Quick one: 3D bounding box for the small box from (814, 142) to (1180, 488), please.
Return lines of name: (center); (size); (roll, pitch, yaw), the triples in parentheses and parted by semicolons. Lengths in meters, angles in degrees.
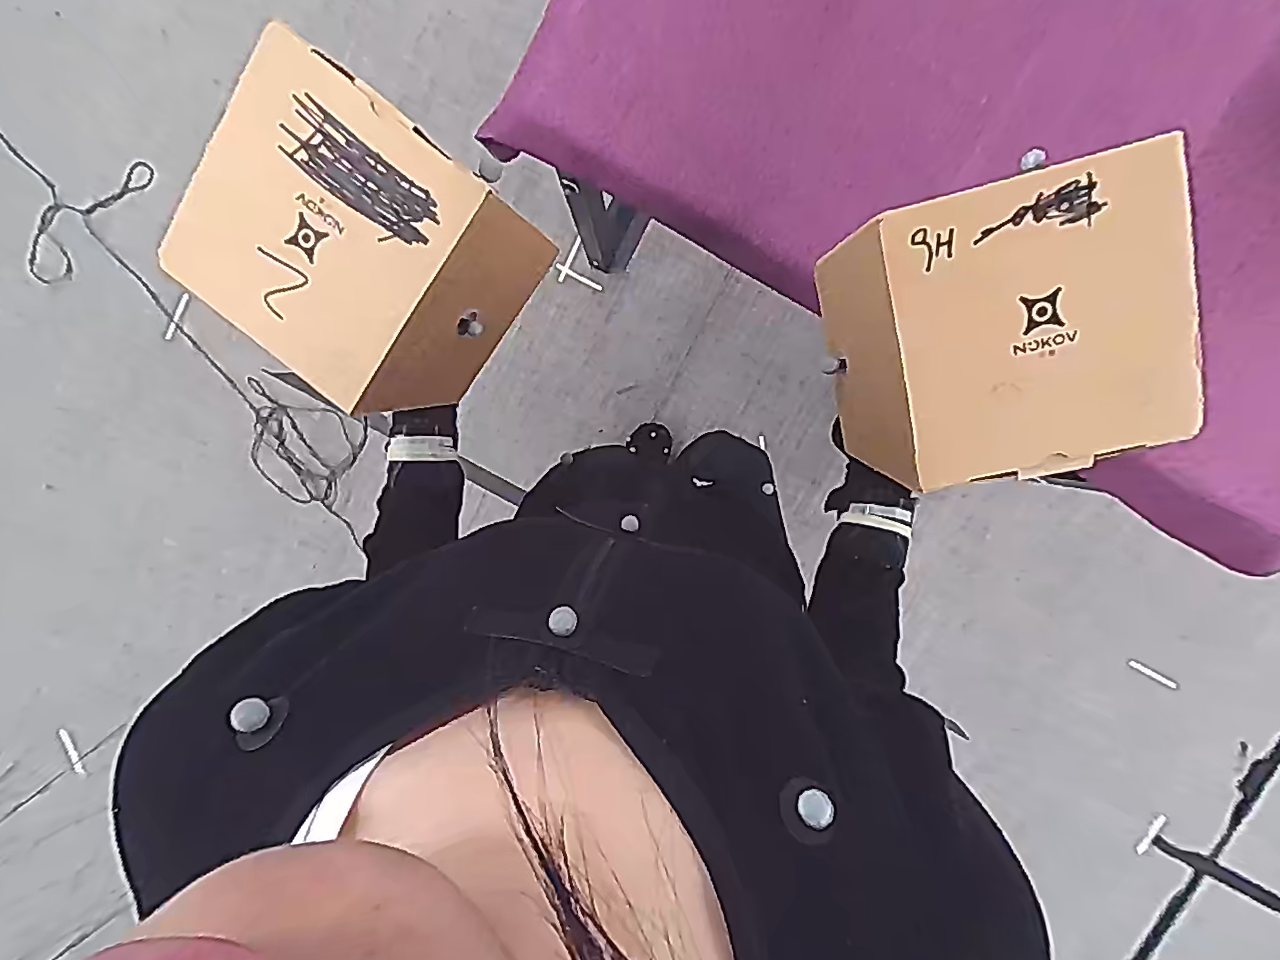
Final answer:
small box: (0.244, -0.110, 0.408); (0.168, 0.176, 0.179); (-13, 101, 7)
